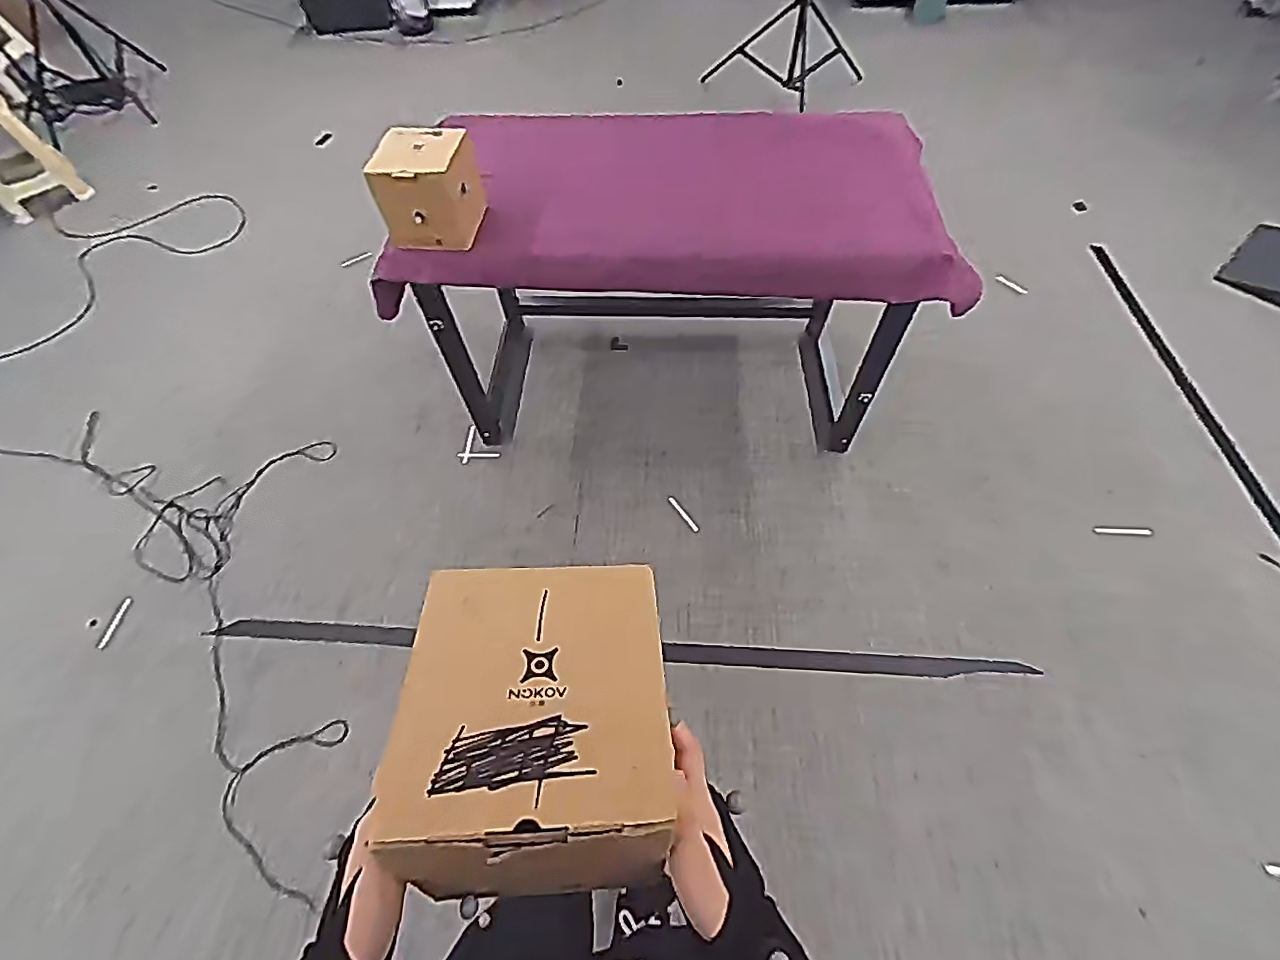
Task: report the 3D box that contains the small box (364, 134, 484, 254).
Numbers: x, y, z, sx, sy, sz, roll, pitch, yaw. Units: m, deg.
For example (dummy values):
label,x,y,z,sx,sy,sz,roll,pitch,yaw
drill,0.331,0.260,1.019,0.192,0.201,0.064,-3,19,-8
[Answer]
label,x,y,z,sx,sy,sz,roll,pitch,yaw
small box,-0.447,-0.605,1.151,0.168,0.176,0.179,3,58,3

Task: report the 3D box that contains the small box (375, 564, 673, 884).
label,x,y,z,sx,sy,sz,roll,pitch,yaw
small box,-0.068,0.184,0.406,0.168,0.176,0.179,0,43,-5
